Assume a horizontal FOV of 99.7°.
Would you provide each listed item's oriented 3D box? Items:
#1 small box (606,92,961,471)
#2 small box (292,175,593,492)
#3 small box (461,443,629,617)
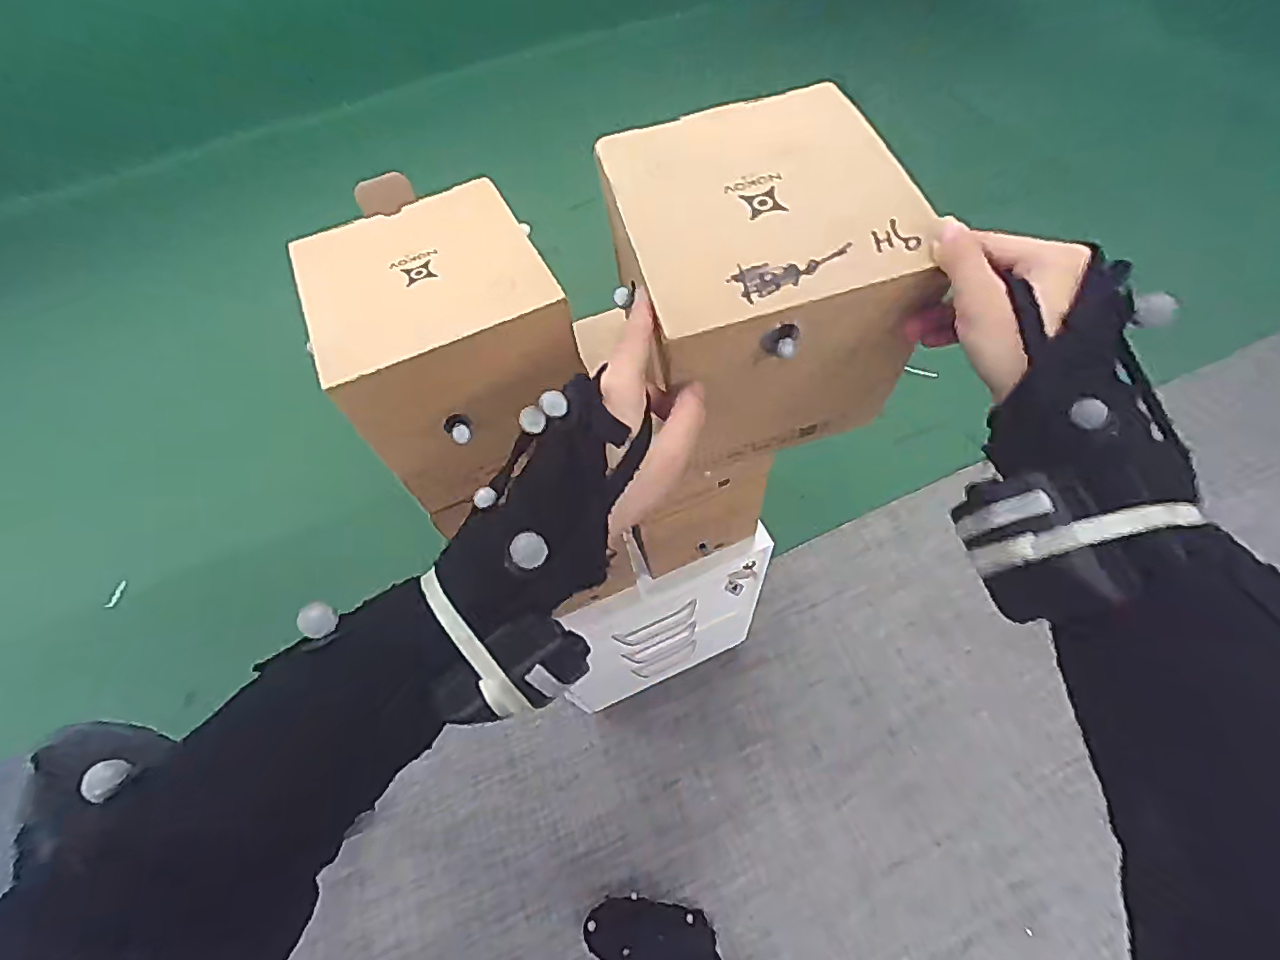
[{"bbox_3d":[0.079,-0.133,0.394,0.168,0.176,0.179,-15,63,-2],"label":"small box"},{"bbox_3d":[-0.151,-0.110,0.457,0.168,0.176,0.179,-24,61,-11],"label":"small box"},{"bbox_3d":[-0.122,0.067,0.727,0.168,0.176,0.179,-22,59,-8],"label":"small box"}]
